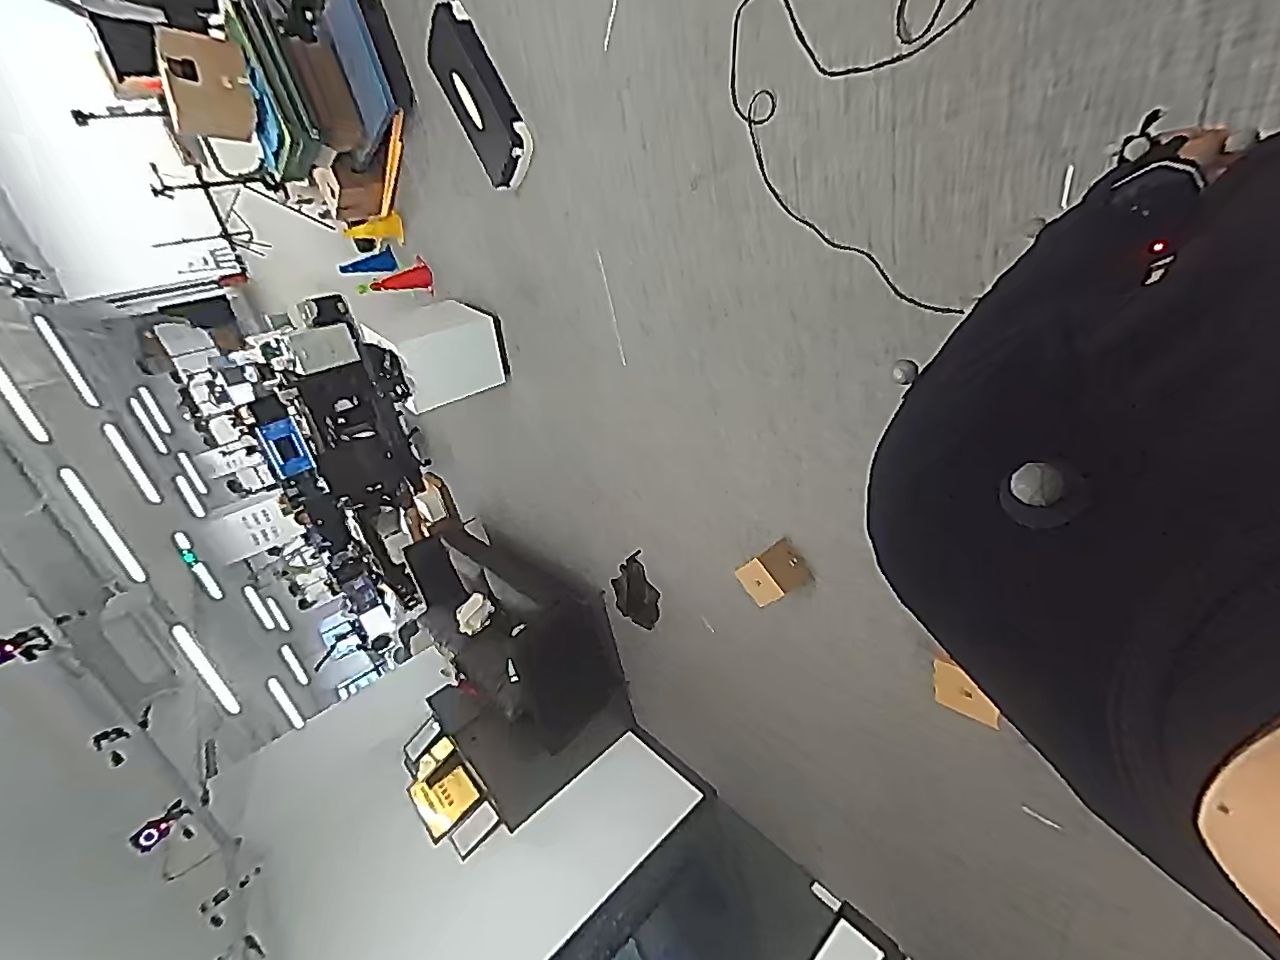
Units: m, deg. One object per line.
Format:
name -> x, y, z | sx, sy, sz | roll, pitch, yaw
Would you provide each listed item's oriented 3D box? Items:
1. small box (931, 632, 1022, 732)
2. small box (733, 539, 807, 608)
small box -> 0.955, 0.562, 1.532 | 0.179, 0.176, 0.168 | 15, 126, 50
small box -> 0.490, 0.351, 2.035 | 0.168, 0.176, 0.179 | 53, 147, 12
